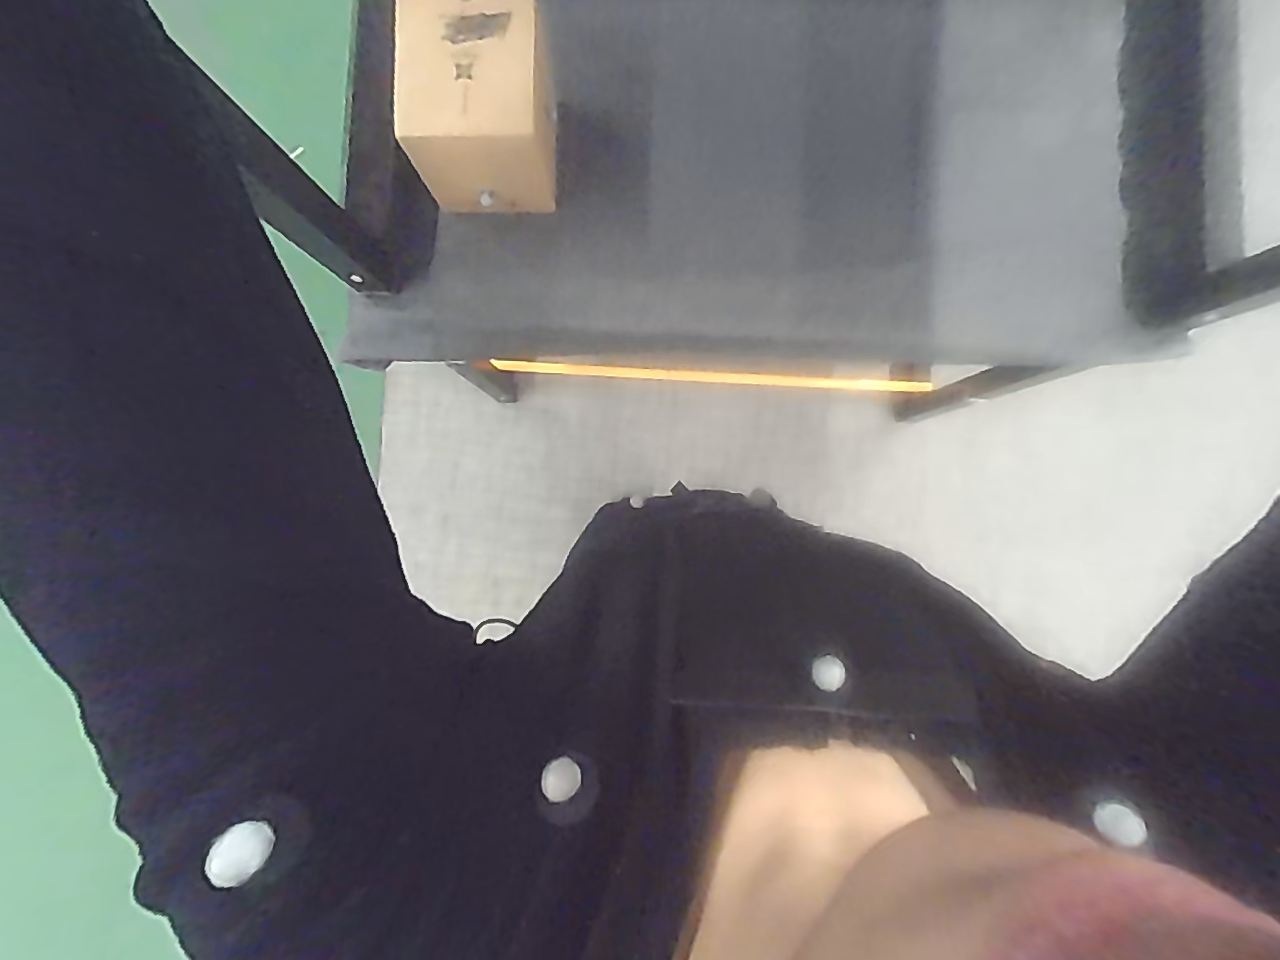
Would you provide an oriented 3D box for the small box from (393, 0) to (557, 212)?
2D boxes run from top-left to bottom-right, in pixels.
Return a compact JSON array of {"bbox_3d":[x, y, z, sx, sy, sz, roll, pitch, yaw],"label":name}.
[{"bbox_3d":[-0.205,-0.484,0.712,0.168,0.176,0.179,0,88,0],"label":"small box"}]
